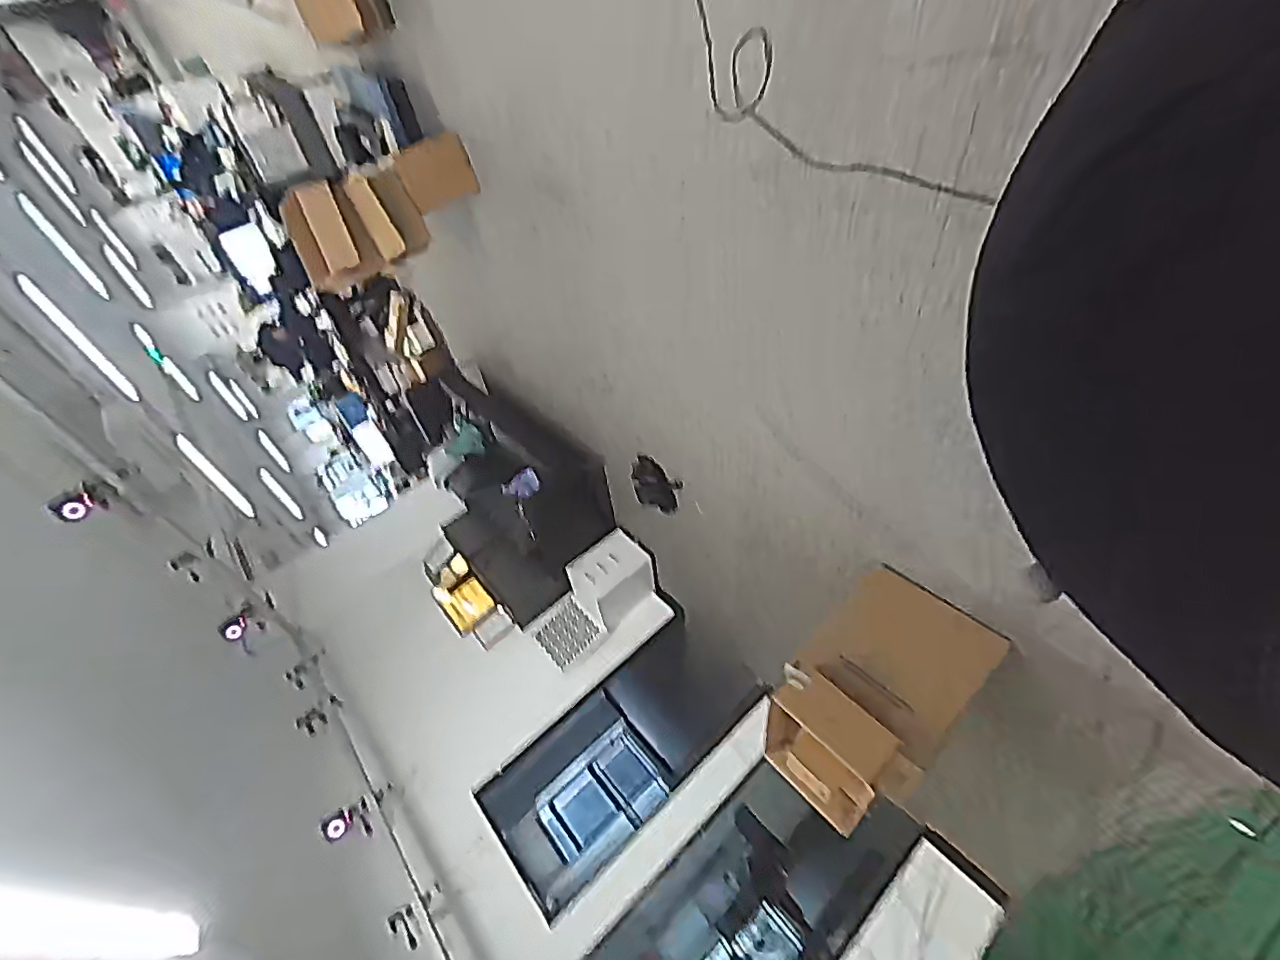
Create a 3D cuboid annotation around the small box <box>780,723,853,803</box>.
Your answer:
[{"bbox_3d":[0.626,1.000,1.930,0.179,0.176,0.168,37,153,38],"label":"small box"}]
